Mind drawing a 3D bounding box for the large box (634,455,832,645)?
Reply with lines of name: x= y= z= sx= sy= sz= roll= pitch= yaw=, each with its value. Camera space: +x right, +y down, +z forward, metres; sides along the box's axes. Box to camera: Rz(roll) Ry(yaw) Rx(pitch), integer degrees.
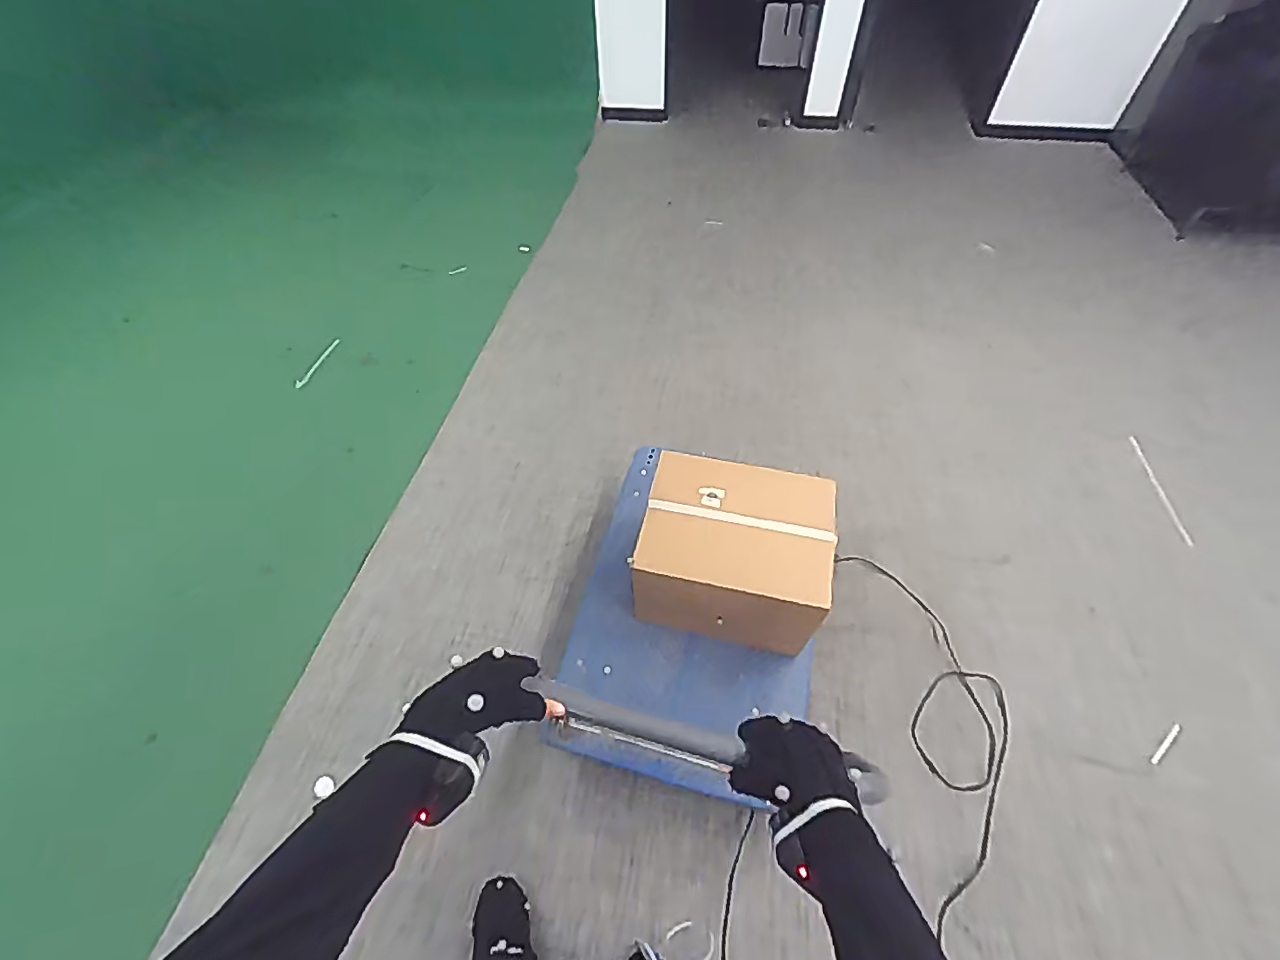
large box: x=0.221 y=0.173 z=1.300 sx=0.408 sy=0.320 sz=0.320 roll=9 pitch=57 yaw=10
